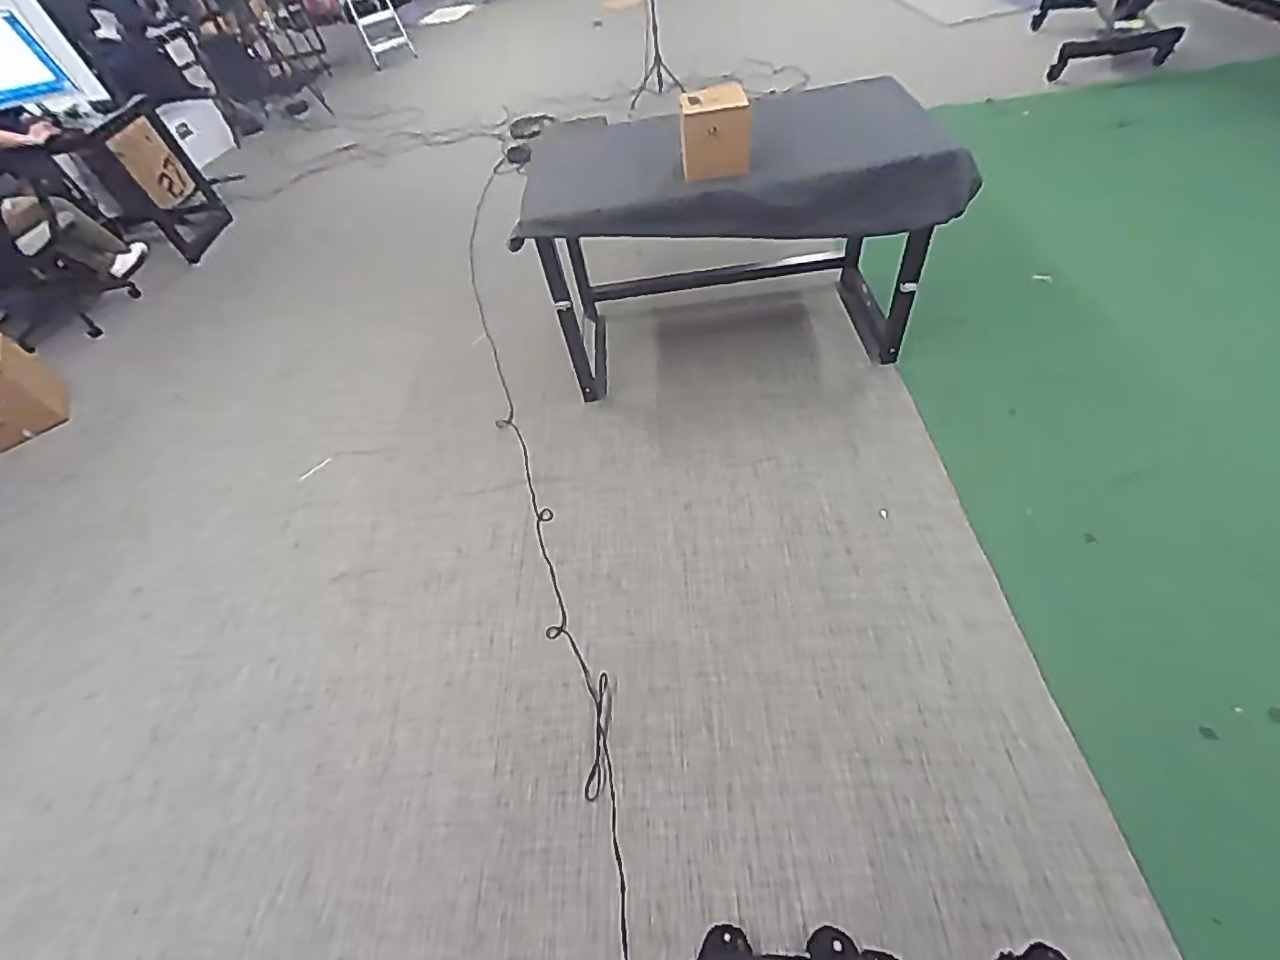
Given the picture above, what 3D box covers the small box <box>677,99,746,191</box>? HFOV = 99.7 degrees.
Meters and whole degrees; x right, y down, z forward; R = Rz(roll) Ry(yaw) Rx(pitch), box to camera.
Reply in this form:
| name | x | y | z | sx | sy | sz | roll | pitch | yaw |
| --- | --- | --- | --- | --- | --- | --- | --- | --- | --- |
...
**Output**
| name | x | y | z | sx | sy | sz | roll | pitch | yaw |
| --- | --- | --- | --- | --- | --- | --- | --- | --- | --- |
| small box | 0.202 | -0.940 | 1.527 | 0.179 | 0.176 | 0.168 | -6 | 51 | 5 |
